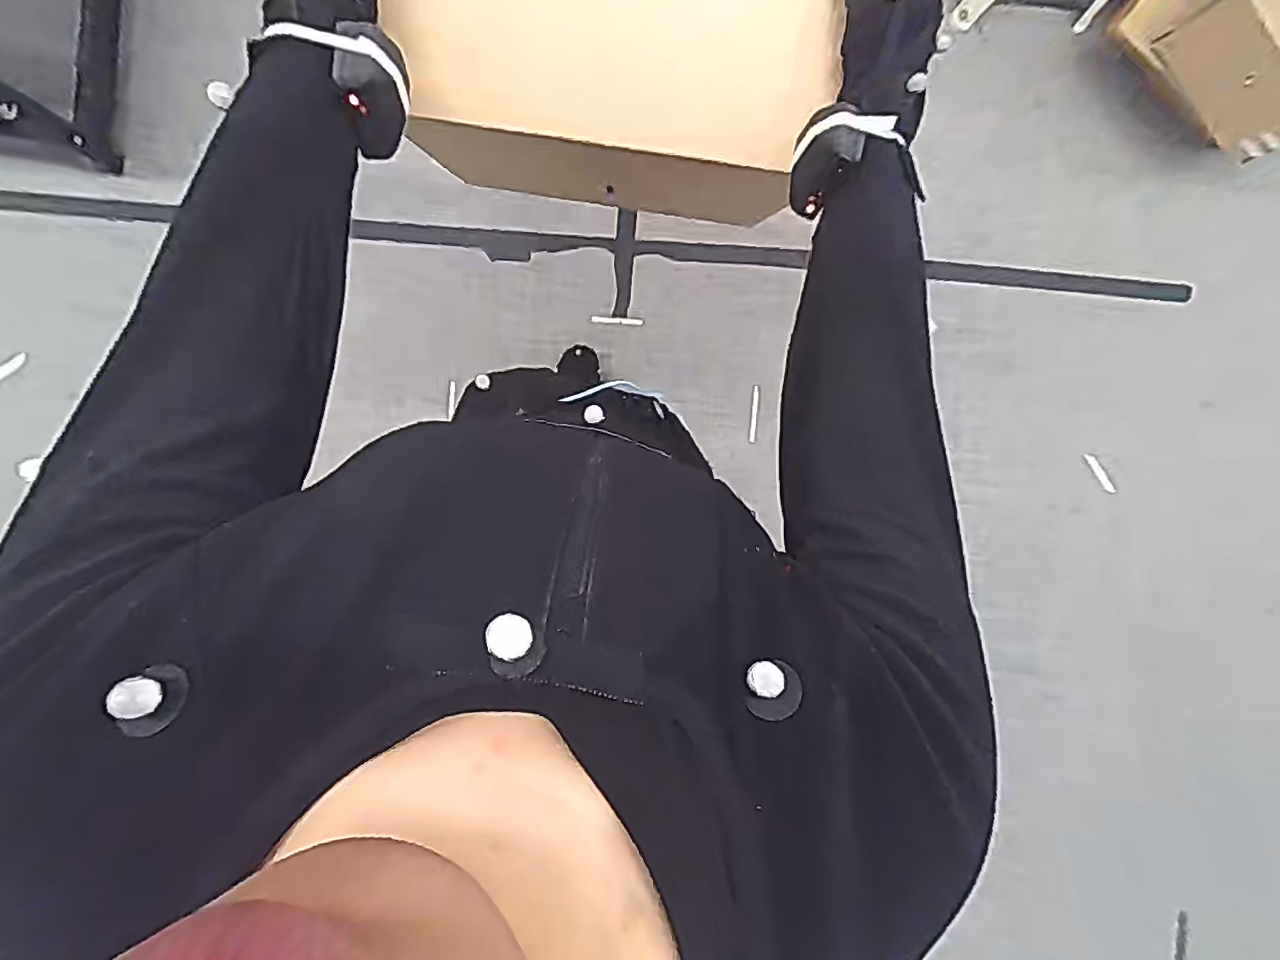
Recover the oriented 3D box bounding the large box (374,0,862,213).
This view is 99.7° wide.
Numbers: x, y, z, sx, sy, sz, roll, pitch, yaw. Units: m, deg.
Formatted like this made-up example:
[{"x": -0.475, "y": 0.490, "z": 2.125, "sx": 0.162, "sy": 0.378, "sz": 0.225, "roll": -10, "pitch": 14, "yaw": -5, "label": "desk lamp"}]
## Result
[{"x": -0.012, "y": -0.490, "z": 0.567, "sx": 0.408, "sy": 0.320, "sz": 0.320, "roll": 6, "pitch": 107, "yaw": -4, "label": "large box"}]
